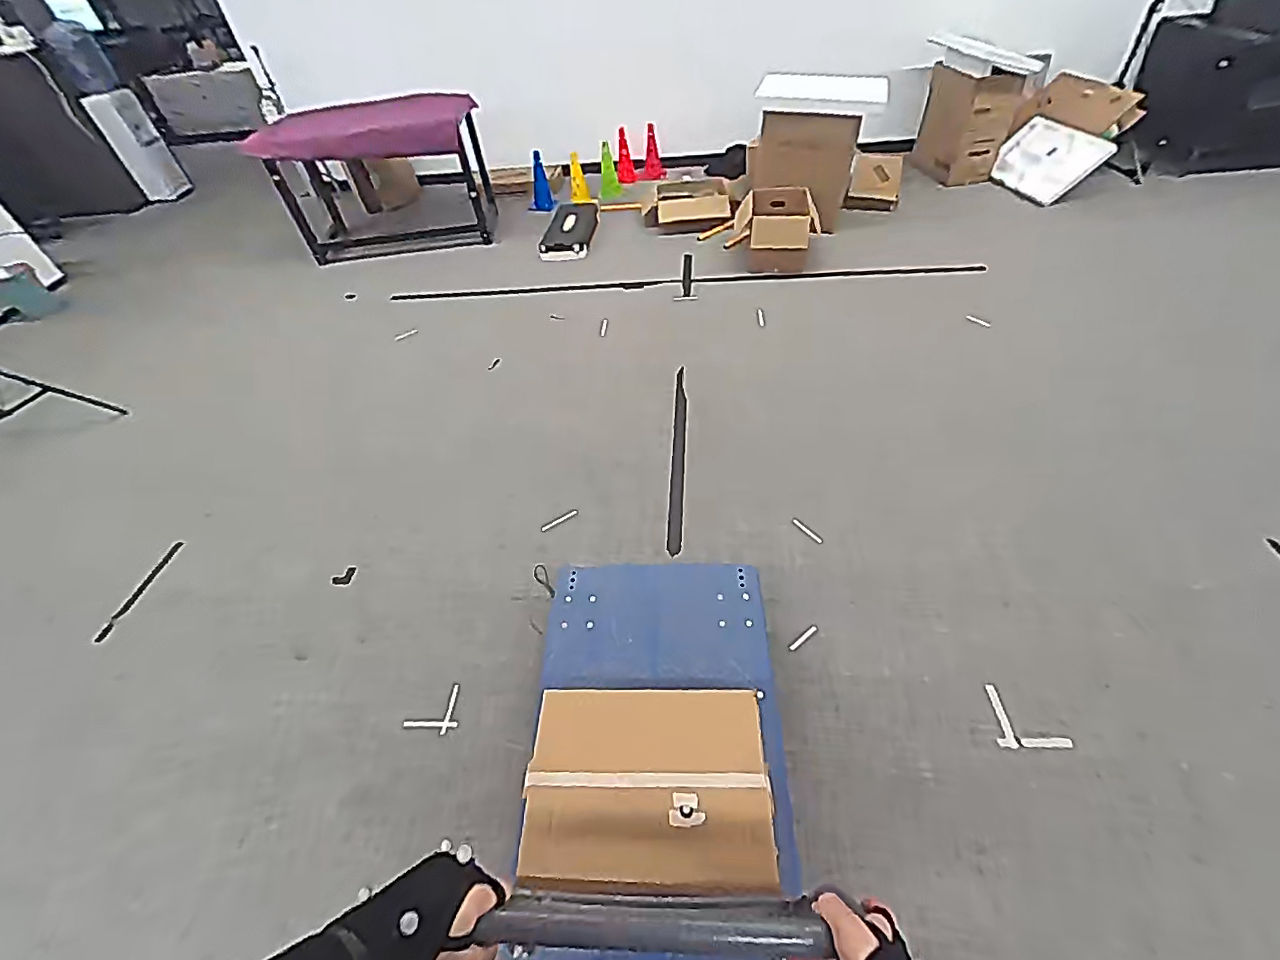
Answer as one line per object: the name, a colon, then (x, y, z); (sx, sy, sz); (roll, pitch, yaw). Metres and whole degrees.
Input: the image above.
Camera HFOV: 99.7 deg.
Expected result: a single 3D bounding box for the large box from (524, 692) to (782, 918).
large box: (0.027, 0.620, 1.029); (0.408, 0.320, 0.320); (-2, 47, 4)
